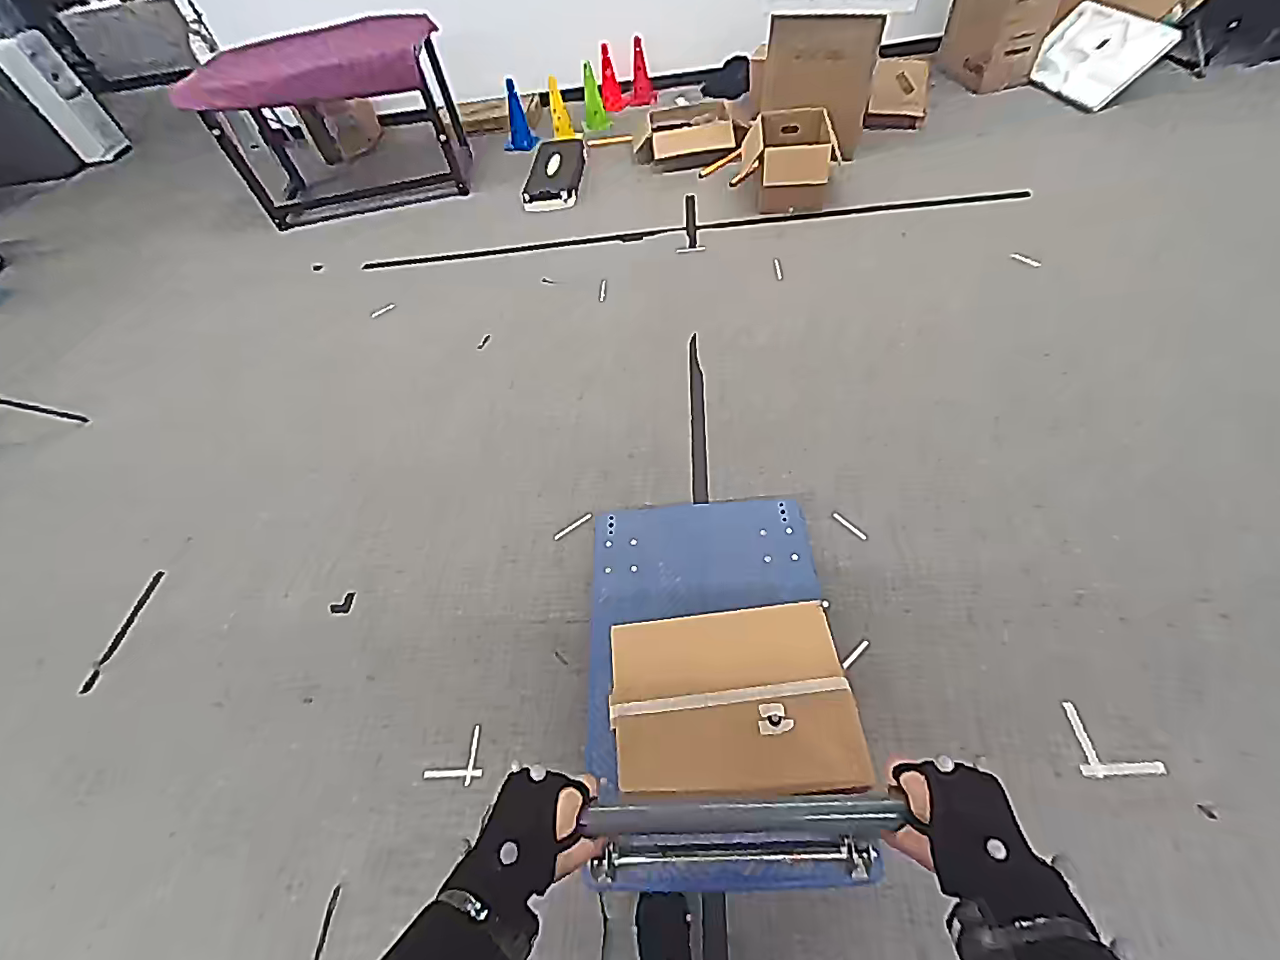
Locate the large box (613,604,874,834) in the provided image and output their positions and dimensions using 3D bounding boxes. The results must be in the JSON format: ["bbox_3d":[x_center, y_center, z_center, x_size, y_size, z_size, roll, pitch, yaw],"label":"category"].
[{"bbox_3d":[0.173,0.475,1.060,0.408,0.320,0.320,-7,53,1],"label":"large box"}]
